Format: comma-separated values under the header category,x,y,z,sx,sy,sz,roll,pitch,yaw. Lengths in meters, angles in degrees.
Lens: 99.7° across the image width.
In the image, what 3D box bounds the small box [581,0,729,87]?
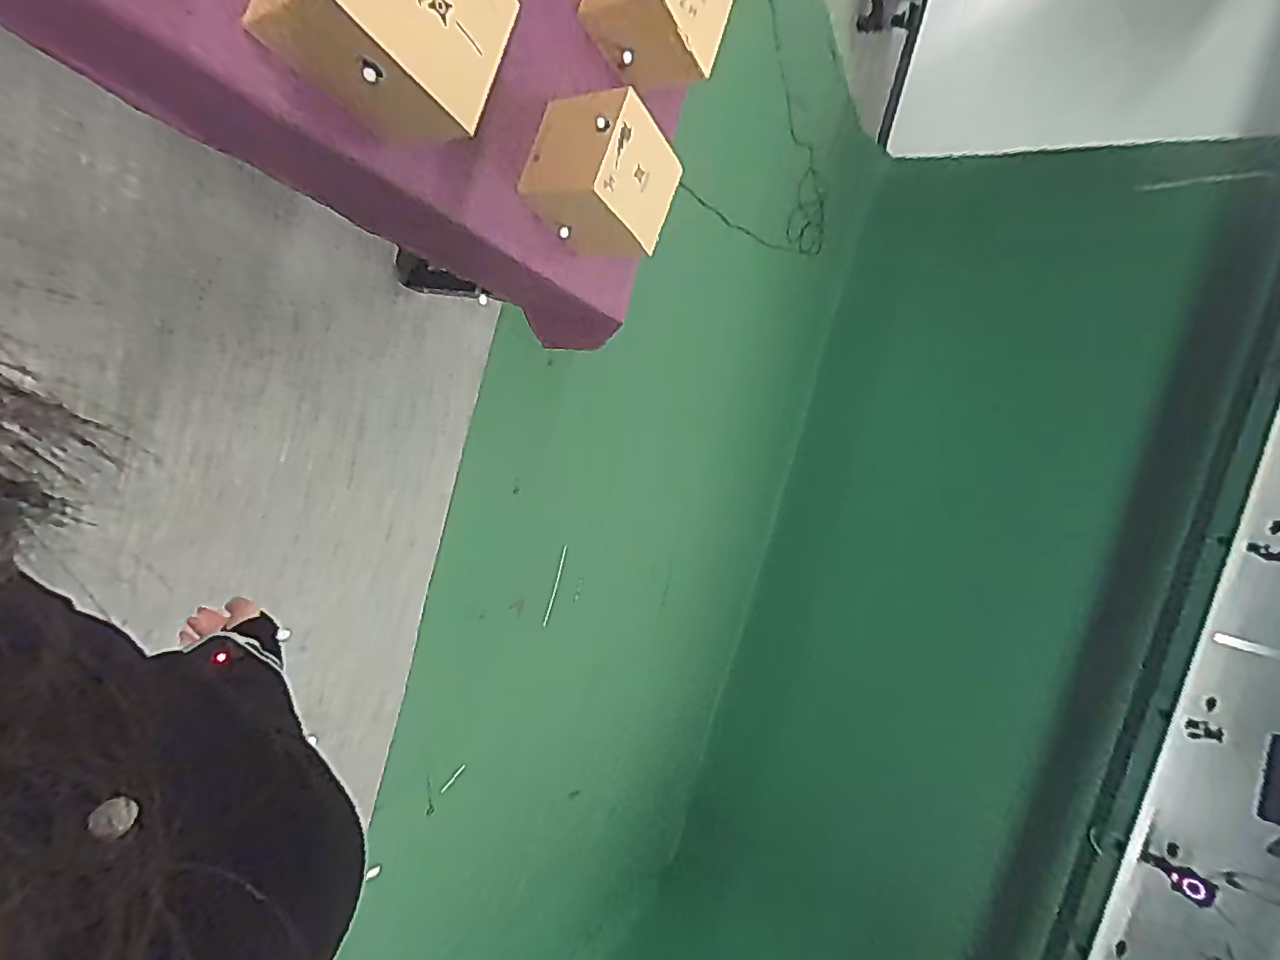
category,x,y,z,sx,sy,sz,roll,pitch,yaw
small box,0.027,-0.800,0.894,0.168,0.176,0.179,18,90,-57

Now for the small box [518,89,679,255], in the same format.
category,x,y,z,sx,sy,sz,roll,pitch,yaw
small box,-0.066,-0.500,0.896,0.179,0.176,0.168,24,84,-57

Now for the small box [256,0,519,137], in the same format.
category,x,y,z,sx,sy,sz,roll,pitch,yaw
small box,-0.271,-0.506,0.587,0.179,0.176,0.168,22,86,-58
